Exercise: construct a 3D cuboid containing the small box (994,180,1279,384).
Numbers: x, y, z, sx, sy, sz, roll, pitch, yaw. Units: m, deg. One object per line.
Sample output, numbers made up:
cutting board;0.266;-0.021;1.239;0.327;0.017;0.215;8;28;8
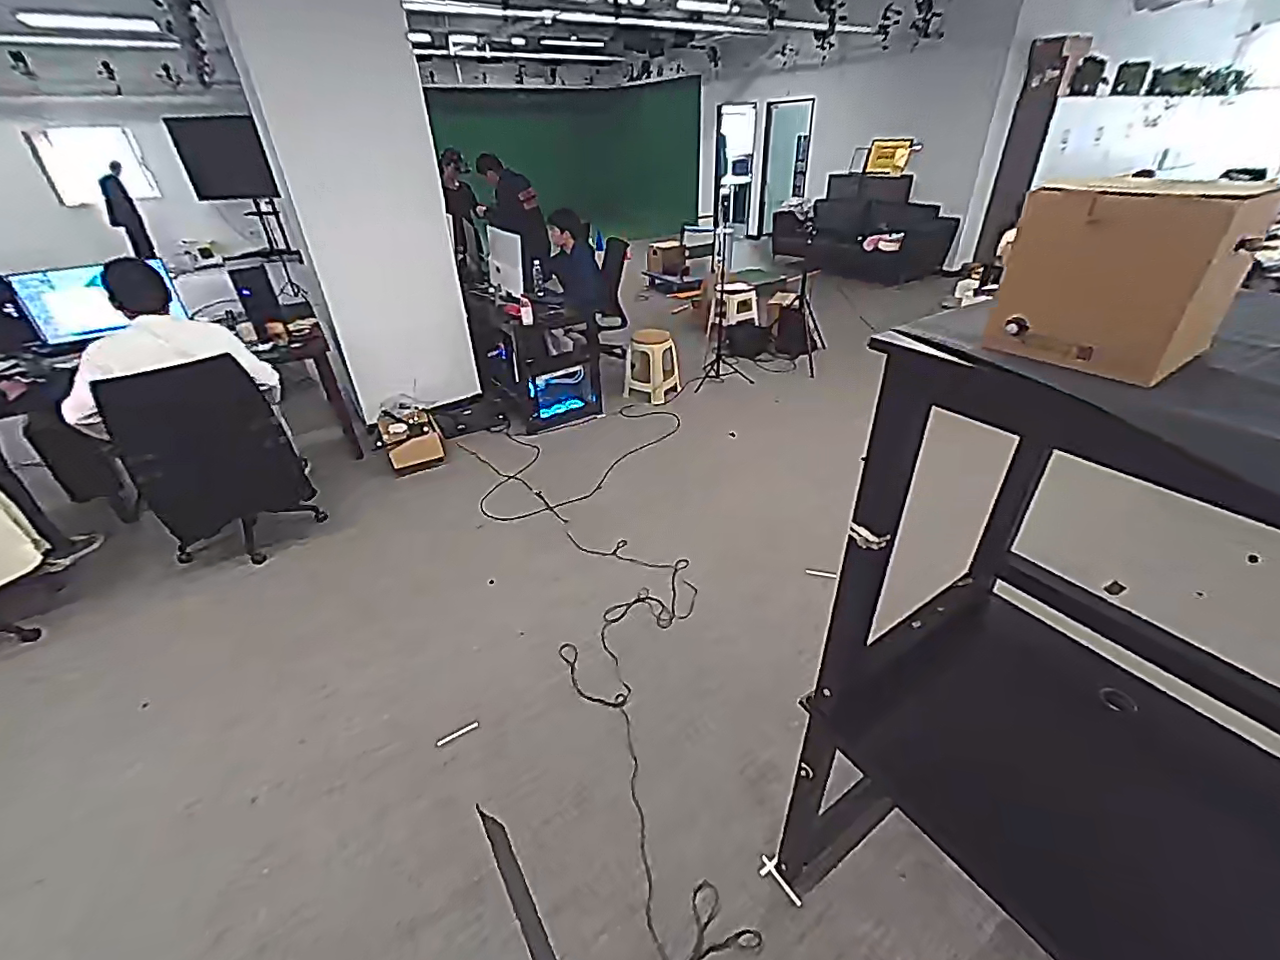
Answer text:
small box;0.514;-0.216;0.575;0.179;0.176;0.168;-22;38;-28
